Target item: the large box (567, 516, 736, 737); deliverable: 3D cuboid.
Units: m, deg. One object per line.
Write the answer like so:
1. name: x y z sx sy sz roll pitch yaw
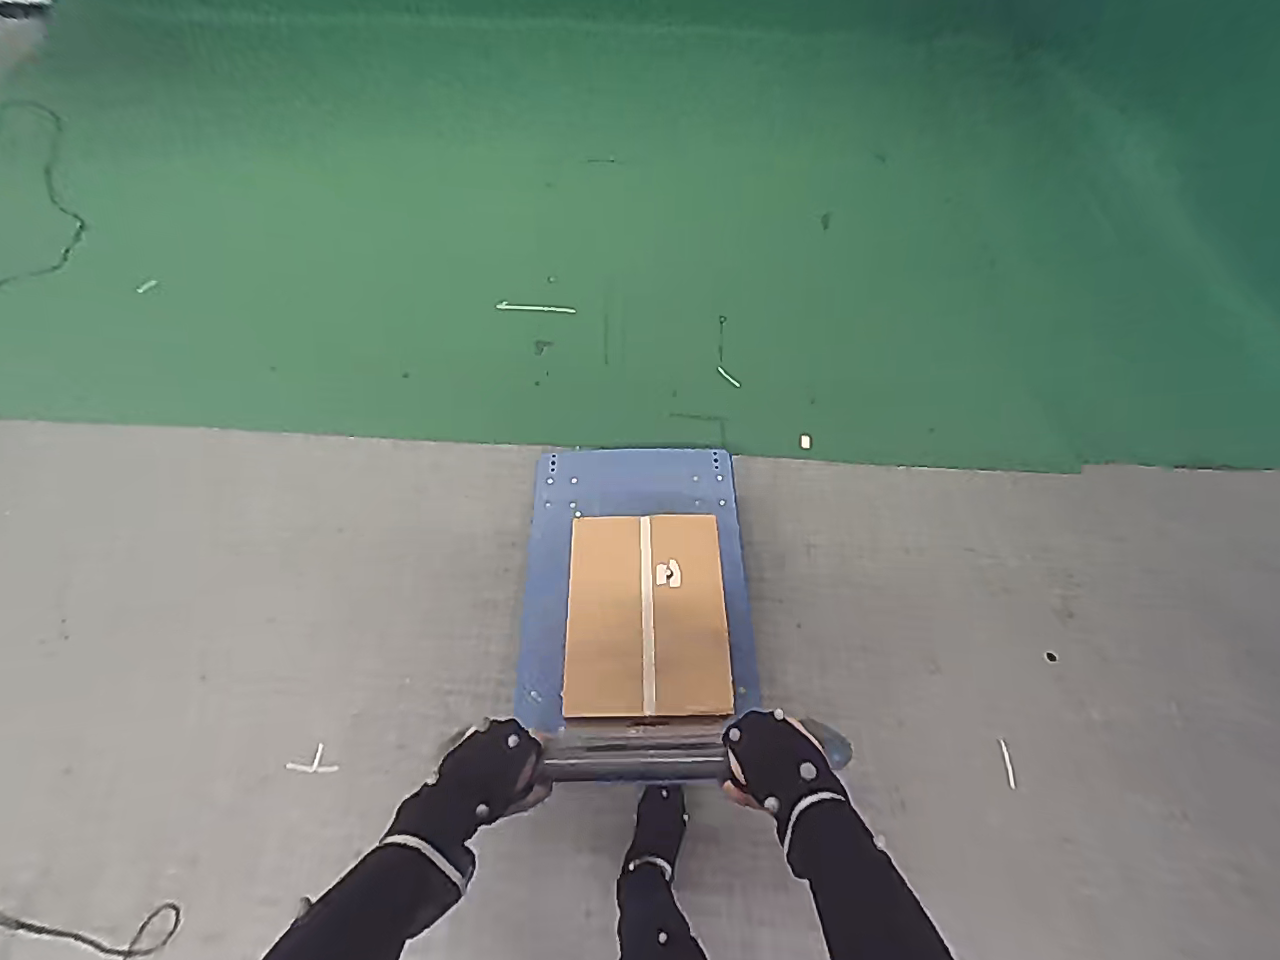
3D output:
1. large box: 0.016 0.332 1.205 0.320 0.320 0.408 -1 59 -1
